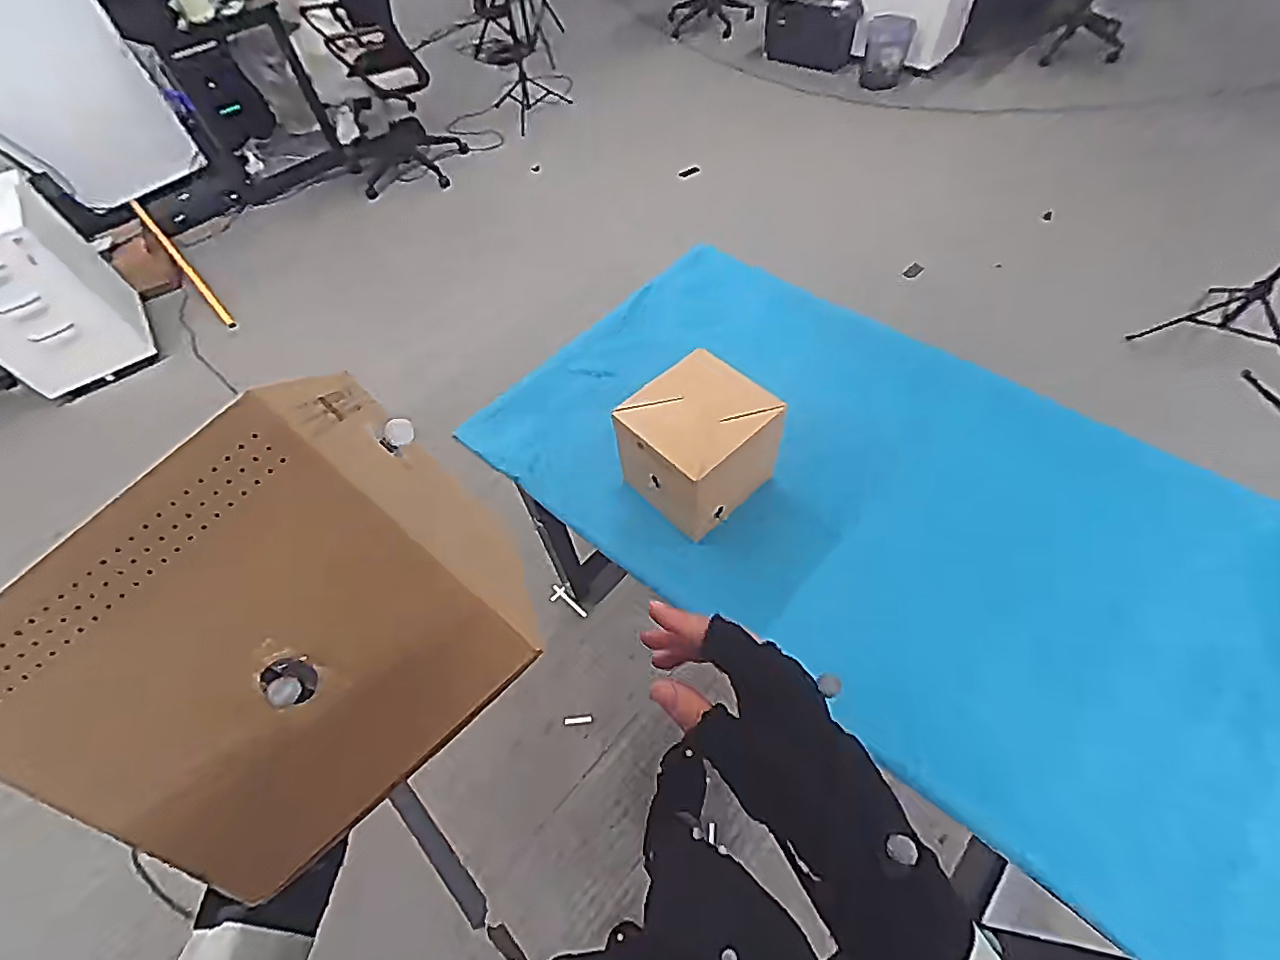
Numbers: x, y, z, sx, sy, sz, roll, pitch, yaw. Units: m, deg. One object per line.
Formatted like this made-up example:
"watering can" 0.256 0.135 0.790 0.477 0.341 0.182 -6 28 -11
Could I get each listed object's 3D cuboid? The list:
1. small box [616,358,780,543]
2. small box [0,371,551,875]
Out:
"small box" 0.082 -0.047 0.798 0.179 0.176 0.168 -39 62 -19
"small box" -0.180 0.058 0.308 0.179 0.176 0.168 -42 22 -4
